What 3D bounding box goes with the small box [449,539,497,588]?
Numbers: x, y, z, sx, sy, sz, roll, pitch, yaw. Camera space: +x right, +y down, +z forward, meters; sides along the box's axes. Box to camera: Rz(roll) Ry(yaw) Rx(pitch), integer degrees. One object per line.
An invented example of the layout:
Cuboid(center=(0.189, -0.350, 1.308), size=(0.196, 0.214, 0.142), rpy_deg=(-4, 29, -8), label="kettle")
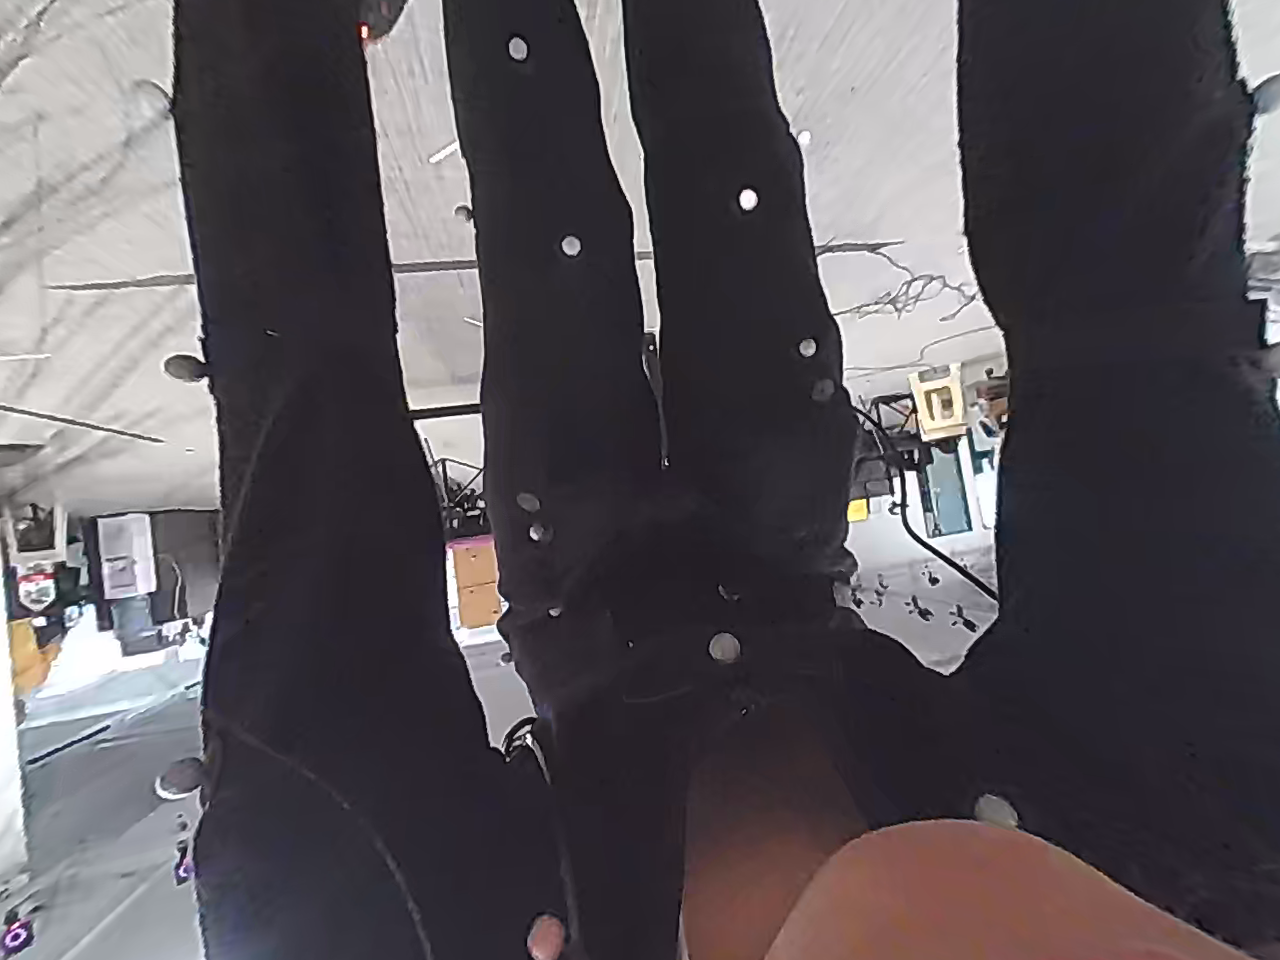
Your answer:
Cuboid(center=(-0.687, 0.338, 2.220), size=(0.168, 0.176, 0.179), rpy_deg=(-9, 177, -17), label="small box")
